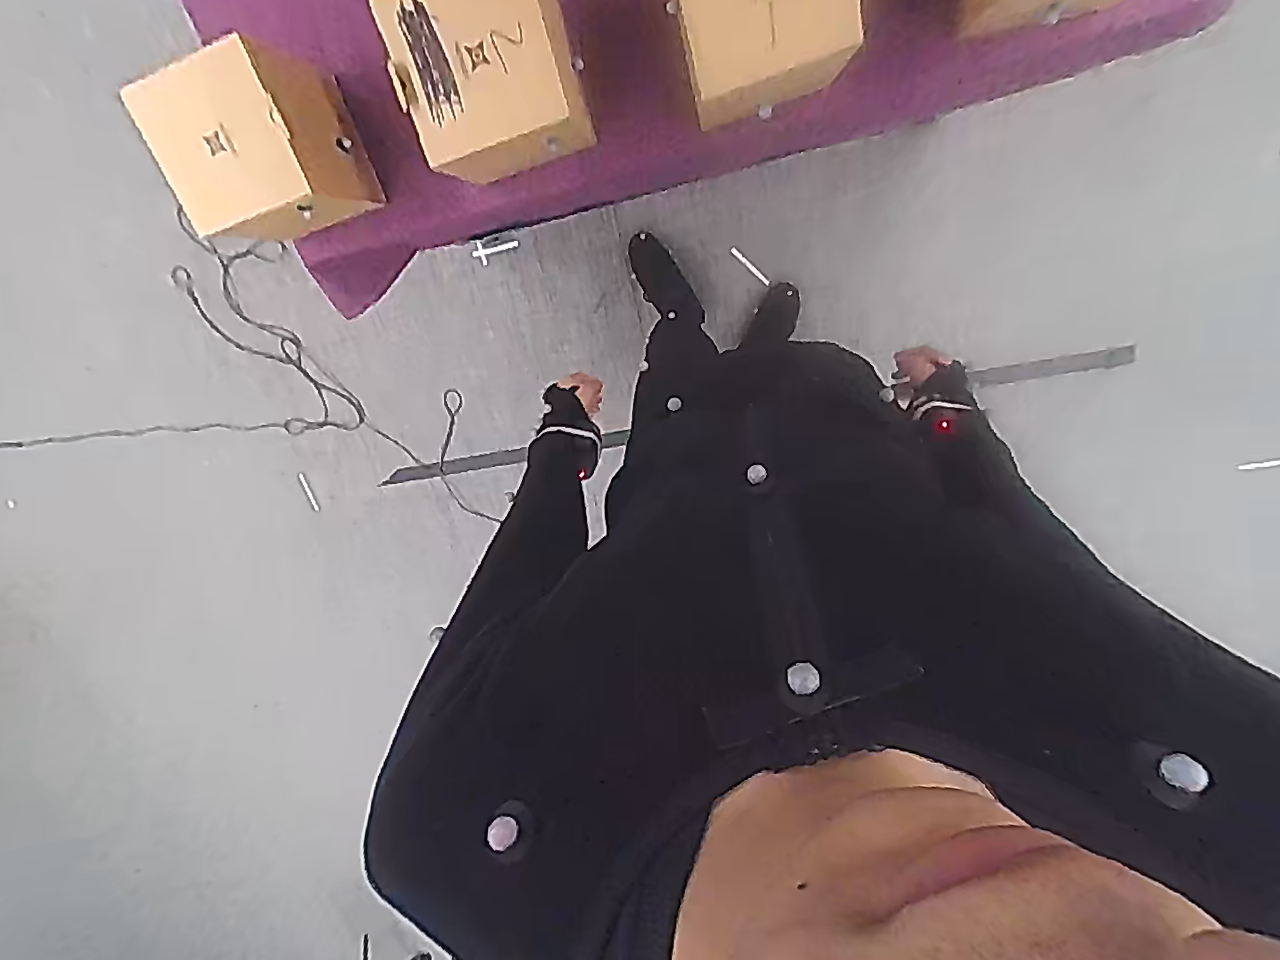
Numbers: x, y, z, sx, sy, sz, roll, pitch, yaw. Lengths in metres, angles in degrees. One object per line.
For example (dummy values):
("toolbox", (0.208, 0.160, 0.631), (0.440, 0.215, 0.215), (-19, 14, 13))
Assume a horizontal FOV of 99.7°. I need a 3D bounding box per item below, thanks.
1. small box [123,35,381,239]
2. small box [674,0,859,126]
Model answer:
("small box", (-0.485, -0.424, 0.706), (0.179, 0.176, 0.168), (-14, 111, 11))
("small box", (0.125, -0.521, 0.589), (0.168, 0.176, 0.179), (-12, 113, 13))
